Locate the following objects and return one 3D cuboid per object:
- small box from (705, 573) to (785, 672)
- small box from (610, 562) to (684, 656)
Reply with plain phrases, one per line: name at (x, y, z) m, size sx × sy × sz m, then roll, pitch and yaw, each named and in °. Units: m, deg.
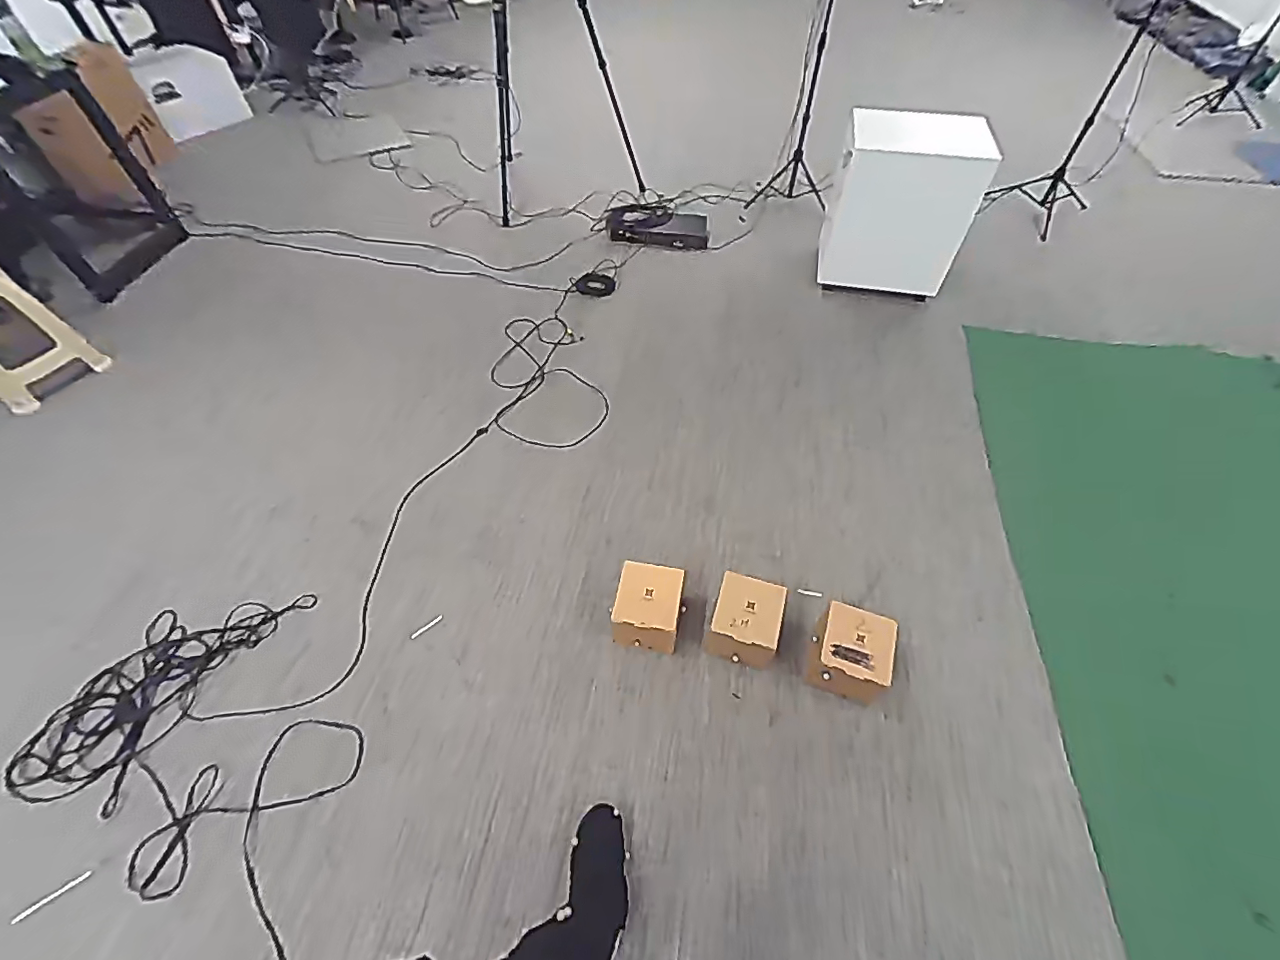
small box at (0.274, 0.378, 1.429) m, size 0.168 × 0.176 × 0.179 m, roll 14°, pitch 55°, yaw 12°
small box at (0.020, 0.348, 1.456) m, size 0.168 × 0.176 × 0.179 m, roll 8°, pitch 54°, yaw 7°
